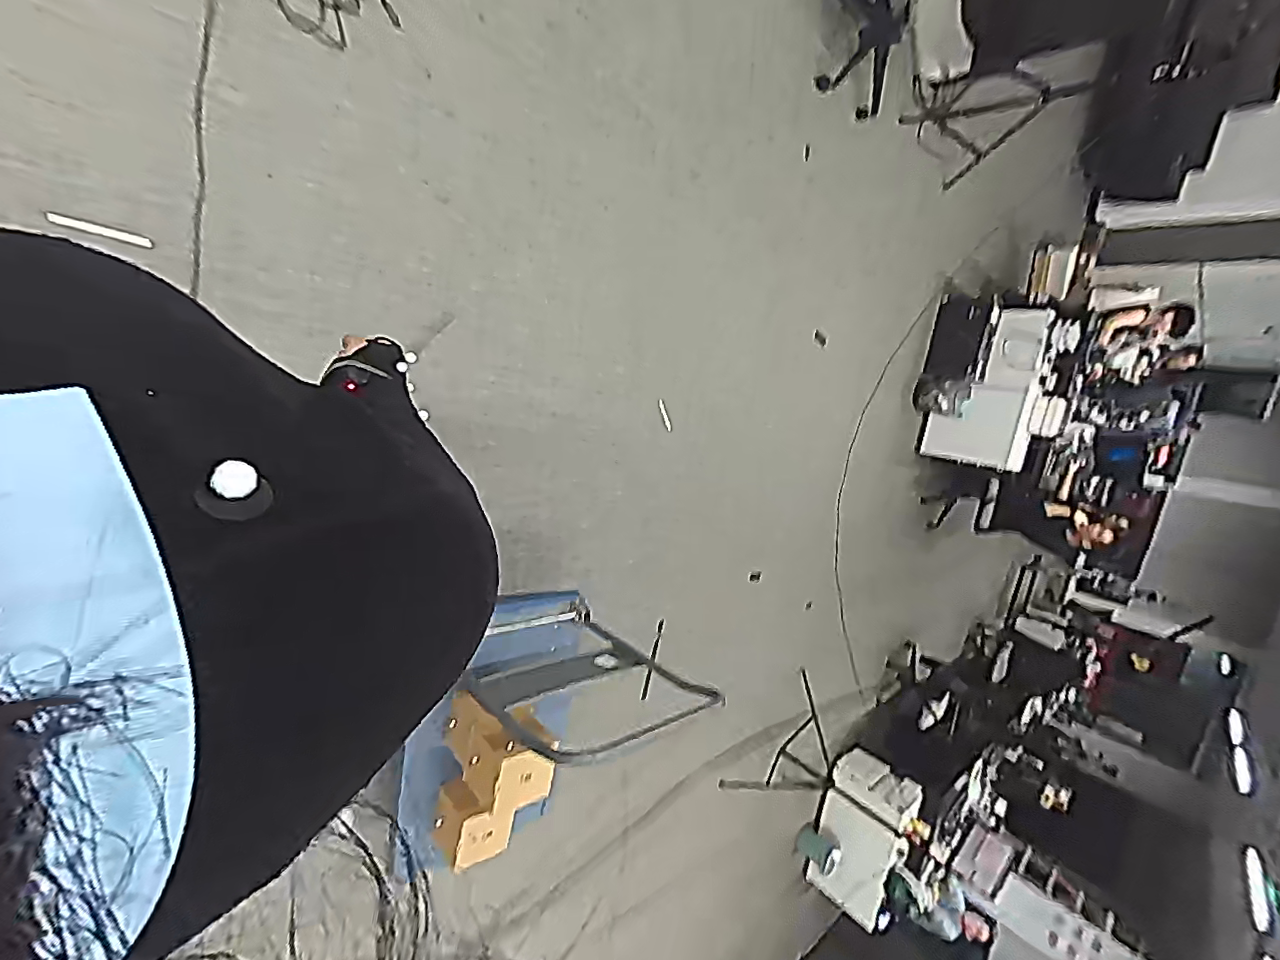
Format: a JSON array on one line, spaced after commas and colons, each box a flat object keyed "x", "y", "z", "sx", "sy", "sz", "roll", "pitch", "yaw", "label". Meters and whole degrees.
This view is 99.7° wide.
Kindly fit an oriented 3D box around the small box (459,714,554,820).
[{"x": -0.363, "y": 0.763, "z": 1.464, "sx": 0.179, "sy": 0.176, "sz": 0.168, "roll": 4, "pitch": 101, "yaw": -43, "label": "small box"}]

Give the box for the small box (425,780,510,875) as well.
[{"x": -0.520, "y": 1.025, "z": 1.631, "sx": 0.179, "sy": 0.176, "sz": 0.168, "roll": 7, "pitch": 98, "yaw": -45, "label": "small box"}]
